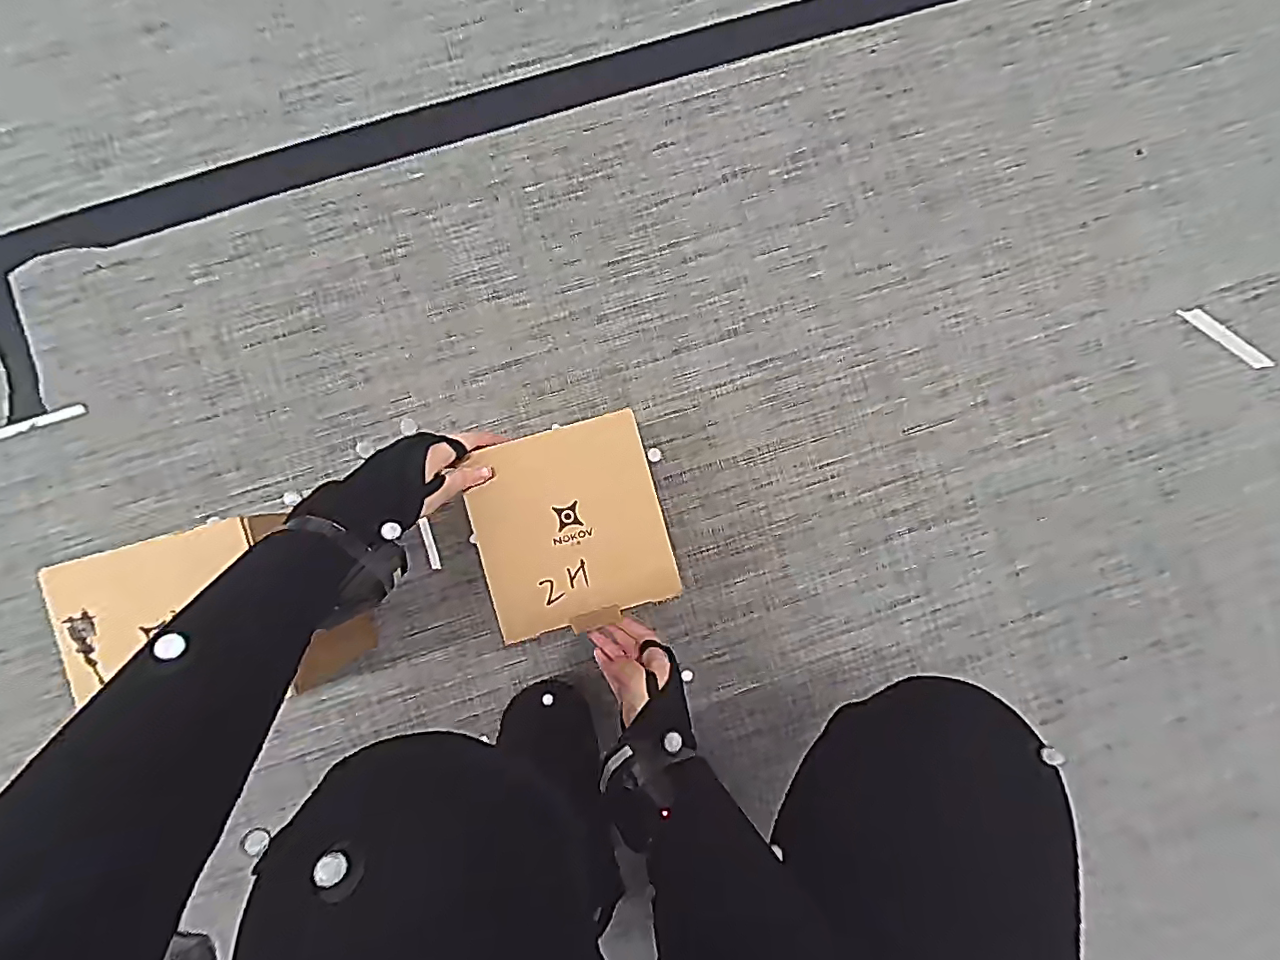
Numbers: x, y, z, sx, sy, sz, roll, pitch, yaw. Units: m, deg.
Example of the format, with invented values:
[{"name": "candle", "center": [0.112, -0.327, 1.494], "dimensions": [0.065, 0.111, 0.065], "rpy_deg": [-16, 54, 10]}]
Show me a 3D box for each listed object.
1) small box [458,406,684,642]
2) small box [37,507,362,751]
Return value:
[{"name": "small box", "center": [-0.064, 0.039, 0.551], "dimensions": [0.168, 0.176, 0.179], "rpy_deg": [-15, 91, -2]}, {"name": "small box", "center": [-0.401, 0.126, 0.533], "dimensions": [0.179, 0.176, 0.168], "rpy_deg": [-15, 90, -4]}]
